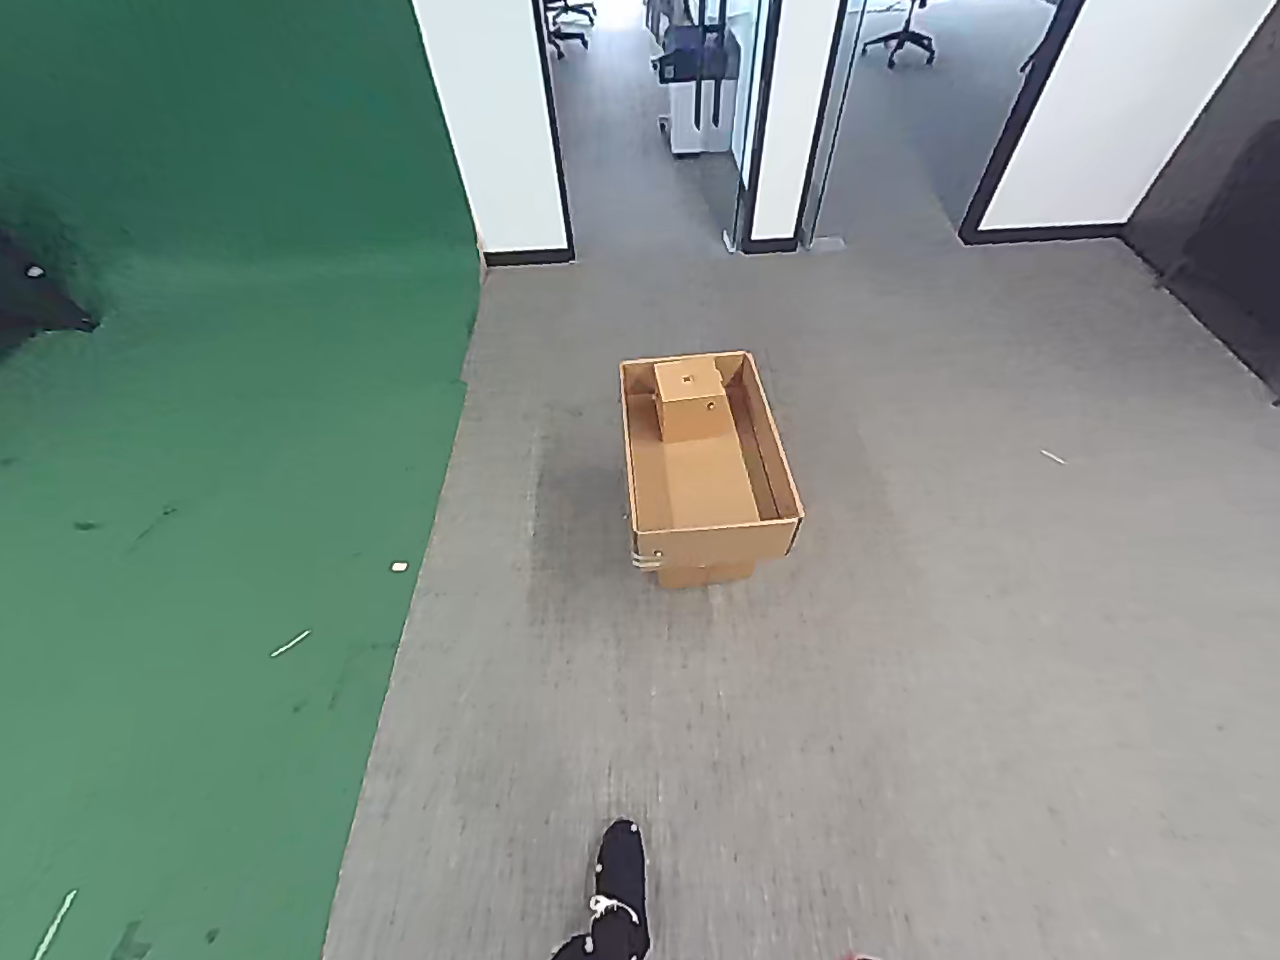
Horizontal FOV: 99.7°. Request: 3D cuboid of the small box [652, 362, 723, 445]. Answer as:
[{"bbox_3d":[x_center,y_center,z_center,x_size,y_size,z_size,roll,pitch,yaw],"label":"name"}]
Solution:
[{"bbox_3d":[0.133,-0.217,1.559,0.179,0.176,0.168,-7,51,-4],"label":"small box"}]
